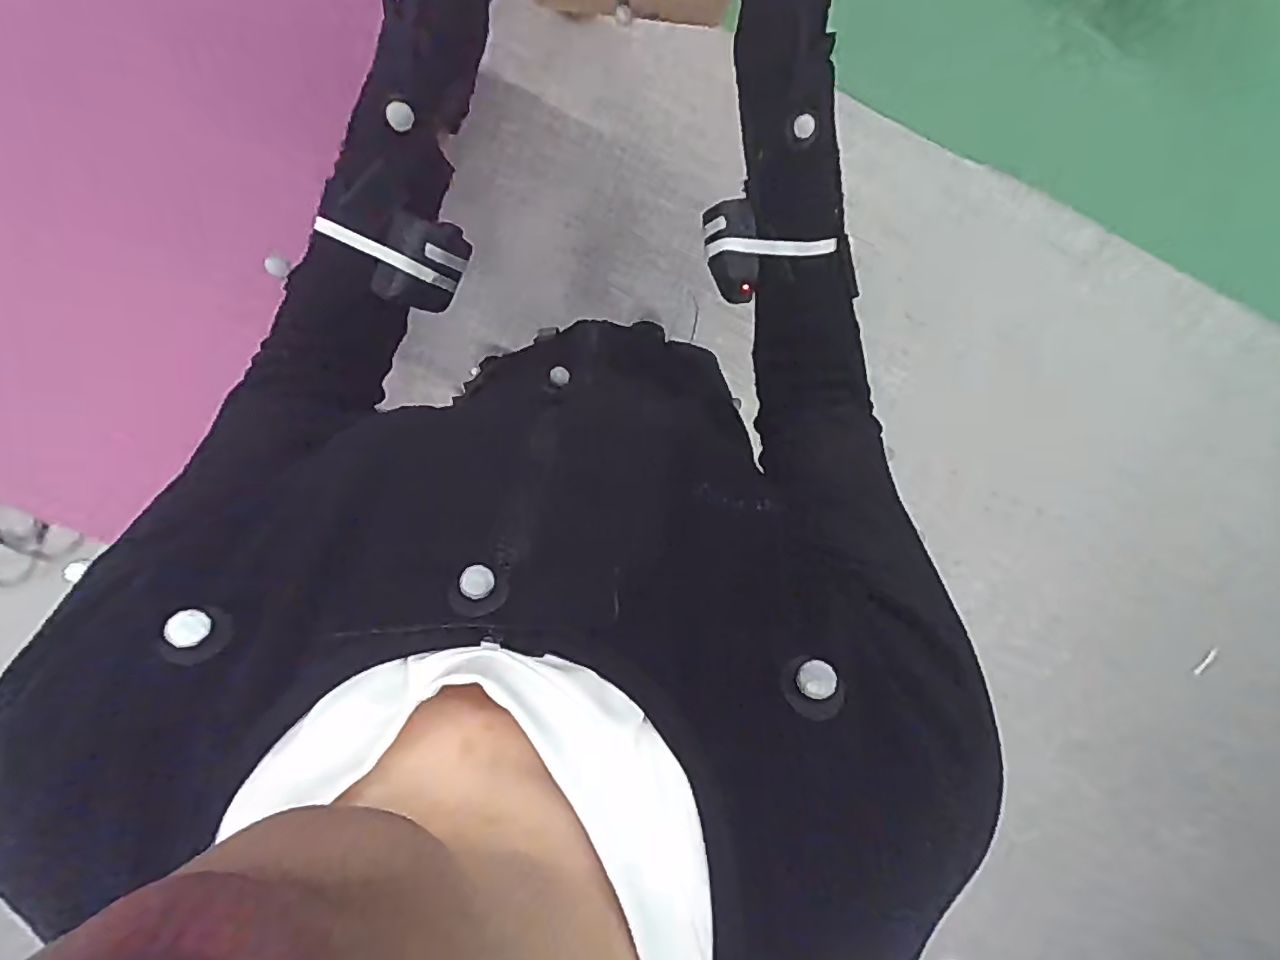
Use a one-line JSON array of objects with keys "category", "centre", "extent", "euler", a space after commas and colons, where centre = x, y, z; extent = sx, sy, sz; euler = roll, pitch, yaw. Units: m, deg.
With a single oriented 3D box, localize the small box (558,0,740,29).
[{"category": "small box", "centre": [0.006, -0.449, 0.370], "extent": [0.168, 0.176, 0.179], "euler": [5, 119, -2]}]
